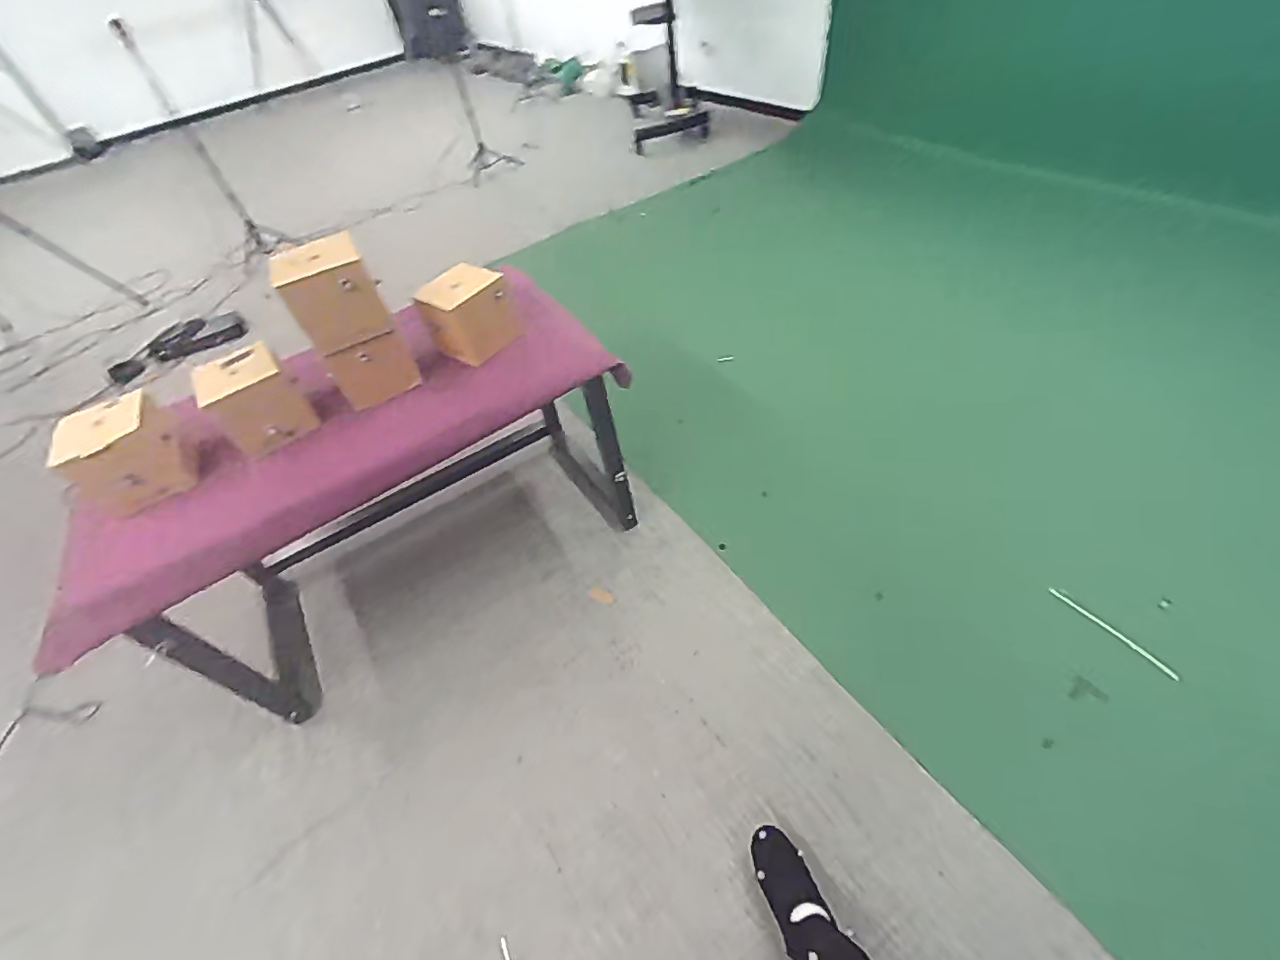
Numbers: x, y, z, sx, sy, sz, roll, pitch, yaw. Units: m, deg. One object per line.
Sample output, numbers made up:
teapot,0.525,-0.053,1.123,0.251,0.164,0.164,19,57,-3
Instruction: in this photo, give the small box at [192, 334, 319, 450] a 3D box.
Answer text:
small box,-0.877,-0.200,1.241,0.168,0.176,0.179,-32,52,-18

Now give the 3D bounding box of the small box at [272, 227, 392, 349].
small box,-0.663,-0.419,1.181,0.179,0.176,0.168,-26,50,-13

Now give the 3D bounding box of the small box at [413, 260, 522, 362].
small box,-0.429,-0.426,1.372,0.168,0.176,0.179,26,58,29

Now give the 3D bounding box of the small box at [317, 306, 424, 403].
small box,-0.653,-0.313,1.308,0.179,0.176,0.168,-26,51,-14

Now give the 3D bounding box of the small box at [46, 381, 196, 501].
small box,-1.104,-0.077,1.167,0.168,0.176,0.179,-27,51,-15
